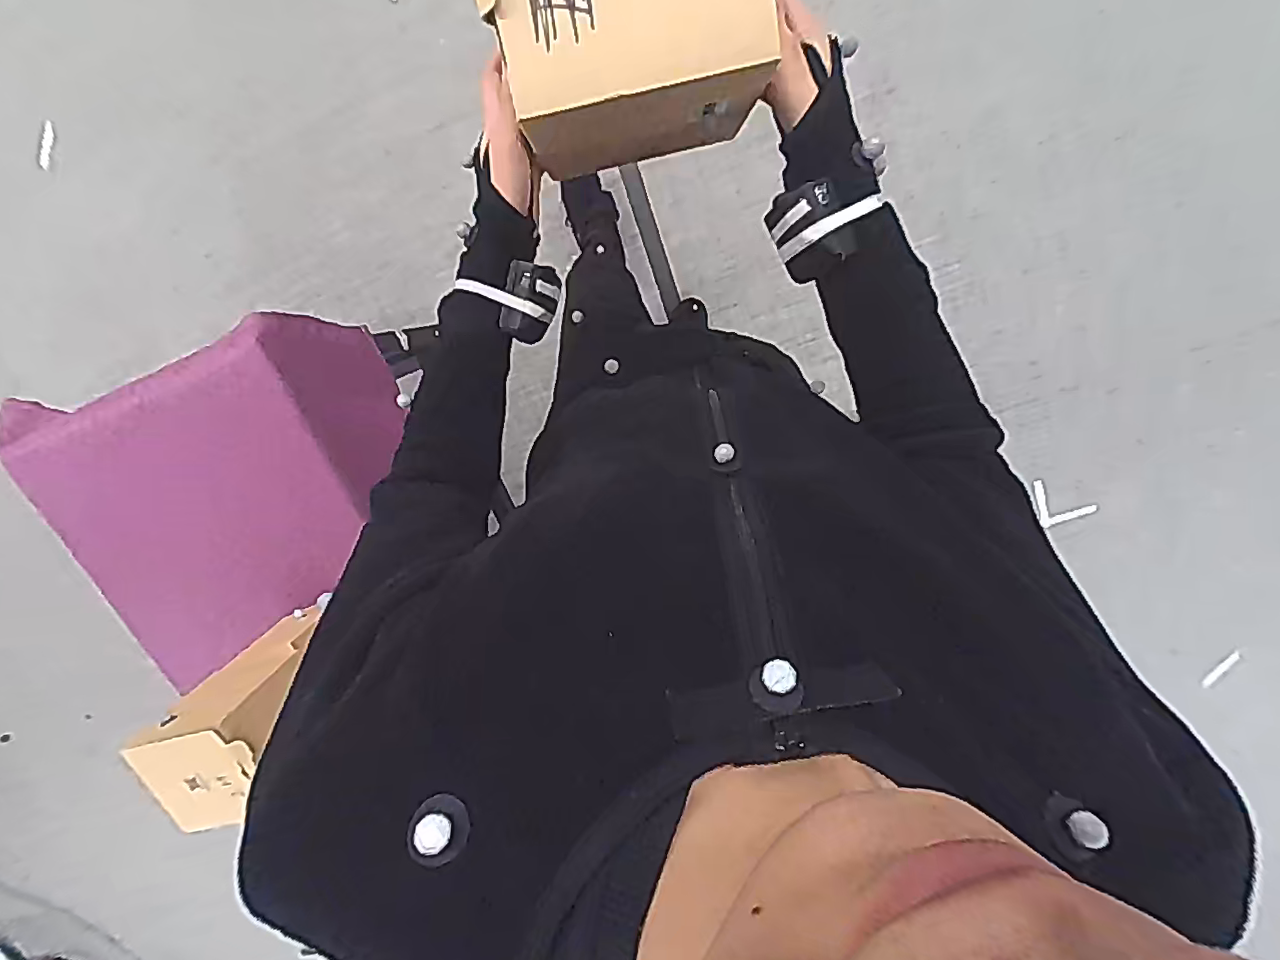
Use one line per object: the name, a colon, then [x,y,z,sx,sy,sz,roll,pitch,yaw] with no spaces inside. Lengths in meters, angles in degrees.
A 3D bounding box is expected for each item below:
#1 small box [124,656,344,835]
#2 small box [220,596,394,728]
small box: [-0.611,0.403,0.838,0.179,0.176,0.168,-17,108,11]
small box: [-0.594,0.346,0.992,0.168,0.176,0.179,-23,106,12]
